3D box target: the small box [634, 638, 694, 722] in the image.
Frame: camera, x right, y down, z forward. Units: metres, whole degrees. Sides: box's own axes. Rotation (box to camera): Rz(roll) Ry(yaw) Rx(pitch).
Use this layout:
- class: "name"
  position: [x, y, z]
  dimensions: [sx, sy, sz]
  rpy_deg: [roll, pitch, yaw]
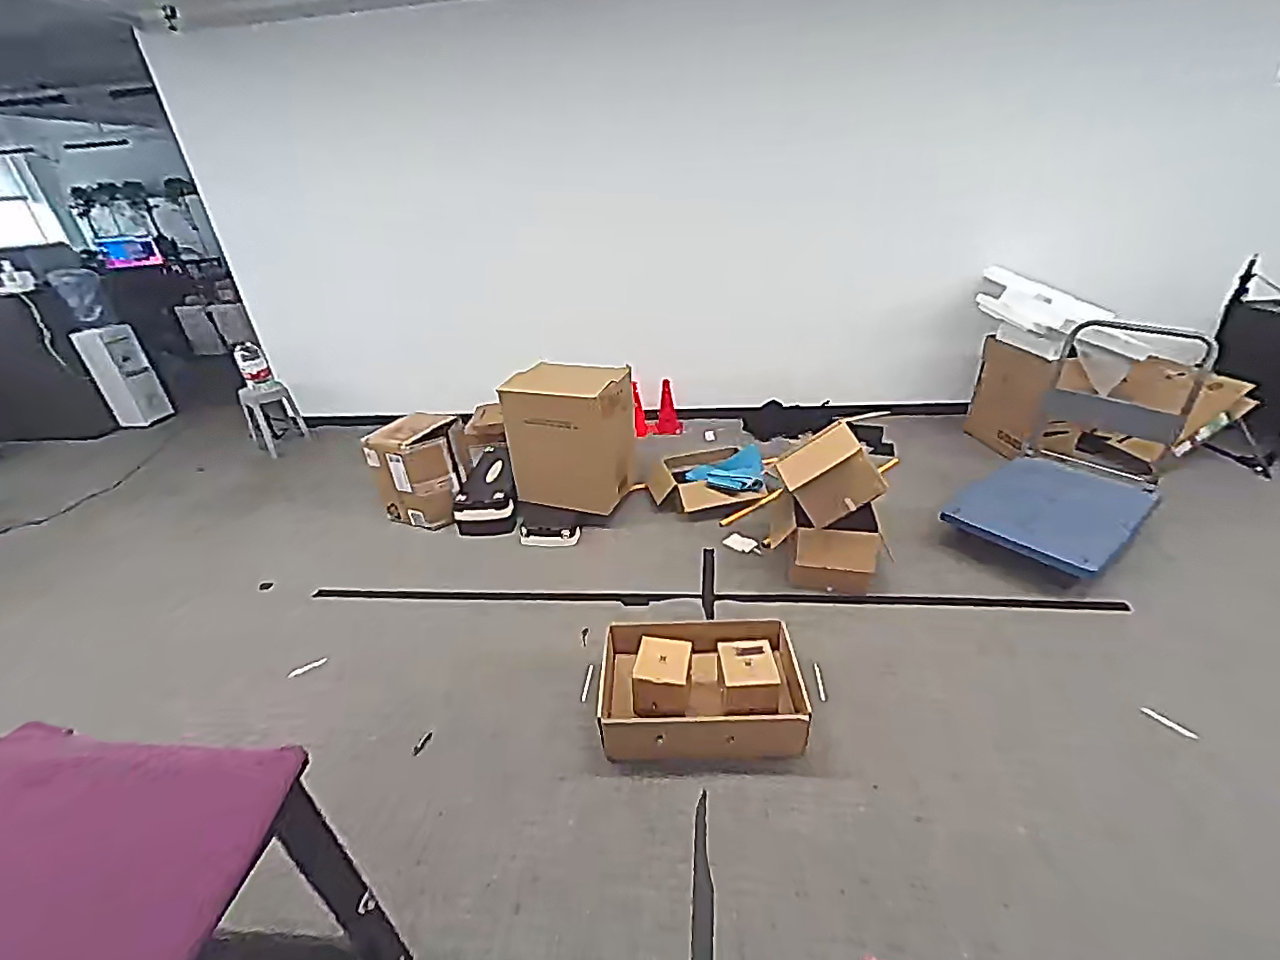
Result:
- class: "small box"
  position: [0.079, 0.640, 1.736]
  dimensions: [0.168, 0.176, 0.179]
  rpy_deg: [3, 29, 11]
